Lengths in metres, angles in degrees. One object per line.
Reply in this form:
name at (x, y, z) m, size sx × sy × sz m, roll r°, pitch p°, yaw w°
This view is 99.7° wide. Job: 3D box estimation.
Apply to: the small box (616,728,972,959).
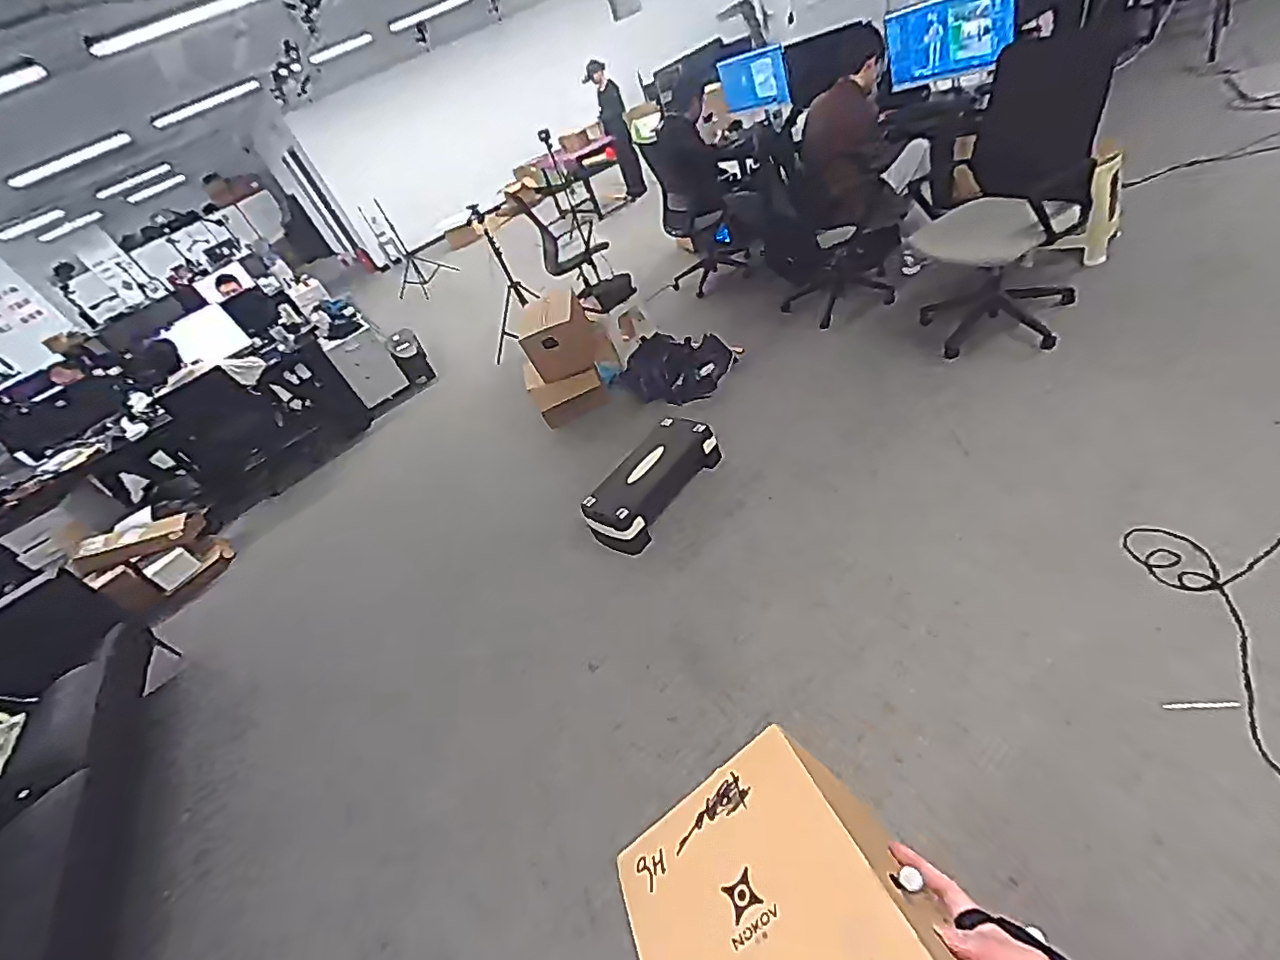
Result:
small box at (0.115, 0.326, 0.384) m, size 0.168 × 0.176 × 0.179 m, roll -41°, pitch 30°, yaw 1°
